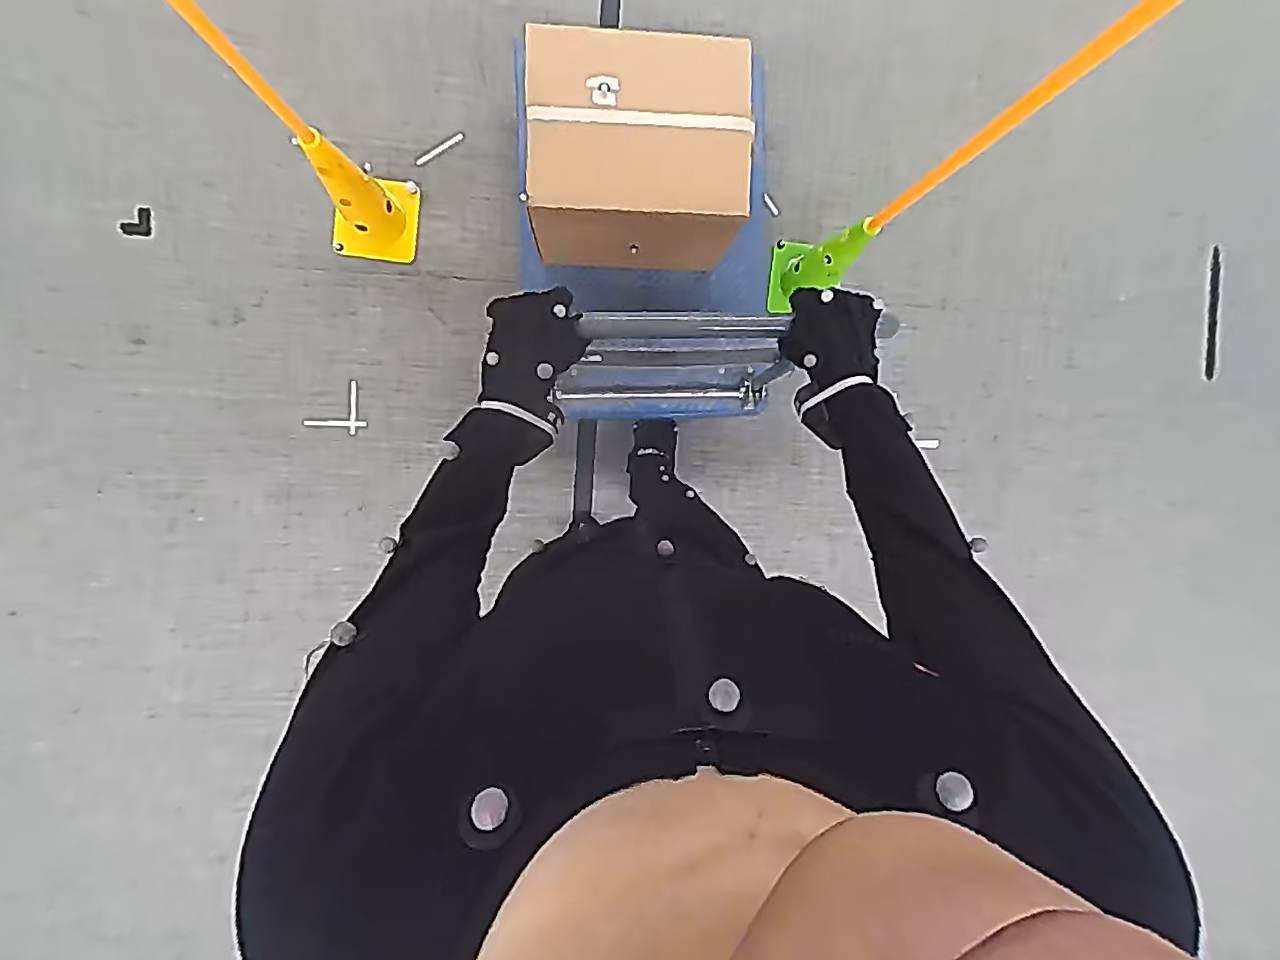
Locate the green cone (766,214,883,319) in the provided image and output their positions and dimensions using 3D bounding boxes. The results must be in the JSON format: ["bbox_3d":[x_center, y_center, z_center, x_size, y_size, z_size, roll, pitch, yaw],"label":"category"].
[{"bbox_3d":[0.471,-0.547,1.319,0.202,0.368,0.200,6,92,-7],"label":"green cone"}]

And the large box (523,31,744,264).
[{"bbox_3d":[-0.016,-0.653,1.124,0.408,0.320,0.320,0,93,-4],"label":"large box"}]
